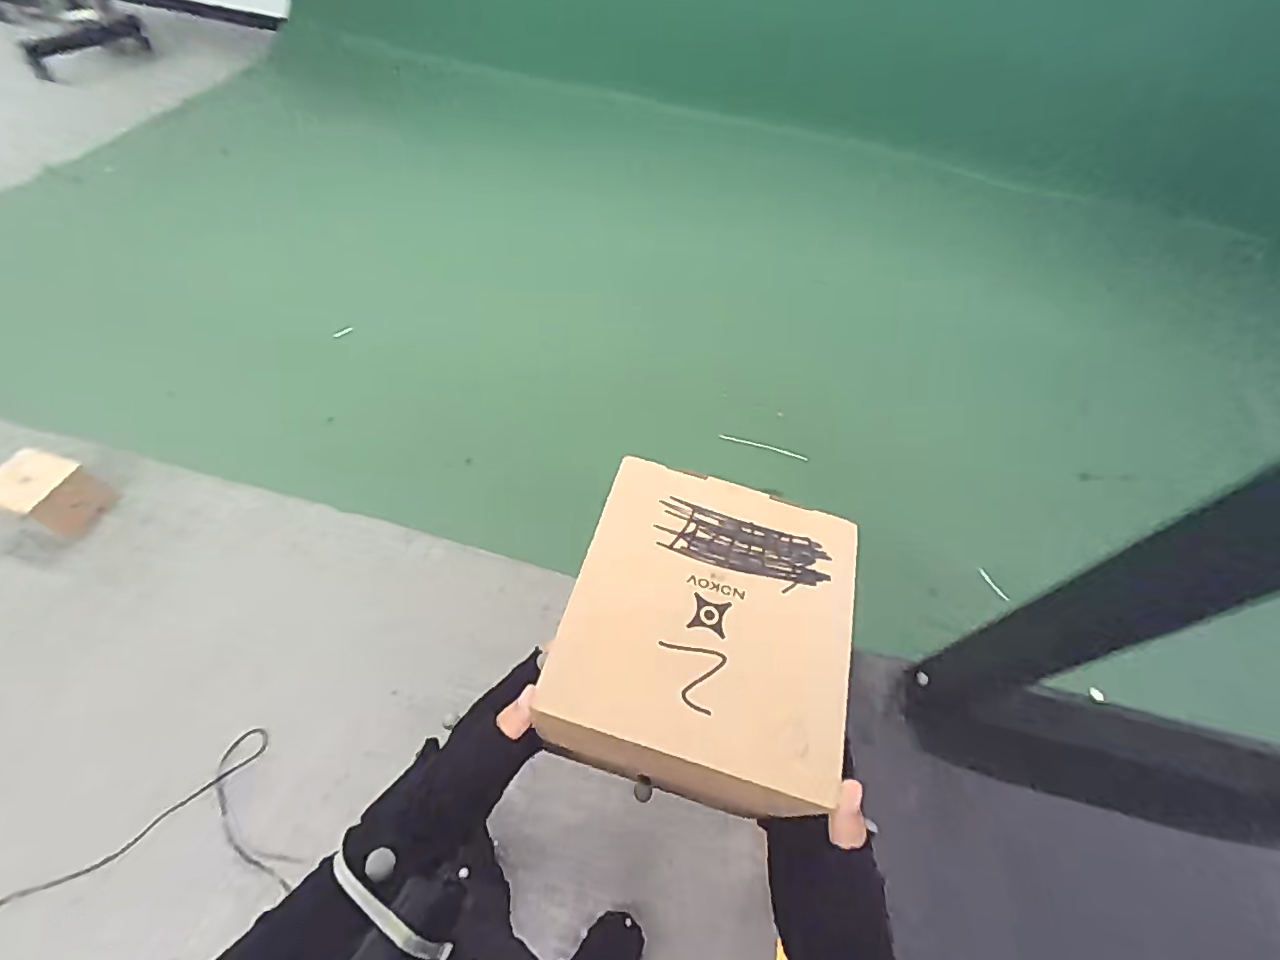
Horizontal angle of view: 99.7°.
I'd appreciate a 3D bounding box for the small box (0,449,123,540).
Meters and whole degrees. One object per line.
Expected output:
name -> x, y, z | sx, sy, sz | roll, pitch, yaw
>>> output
small box -> -1.601, 0.045, 1.481 | 0.179, 0.176, 0.168 | 15, 55, 4
